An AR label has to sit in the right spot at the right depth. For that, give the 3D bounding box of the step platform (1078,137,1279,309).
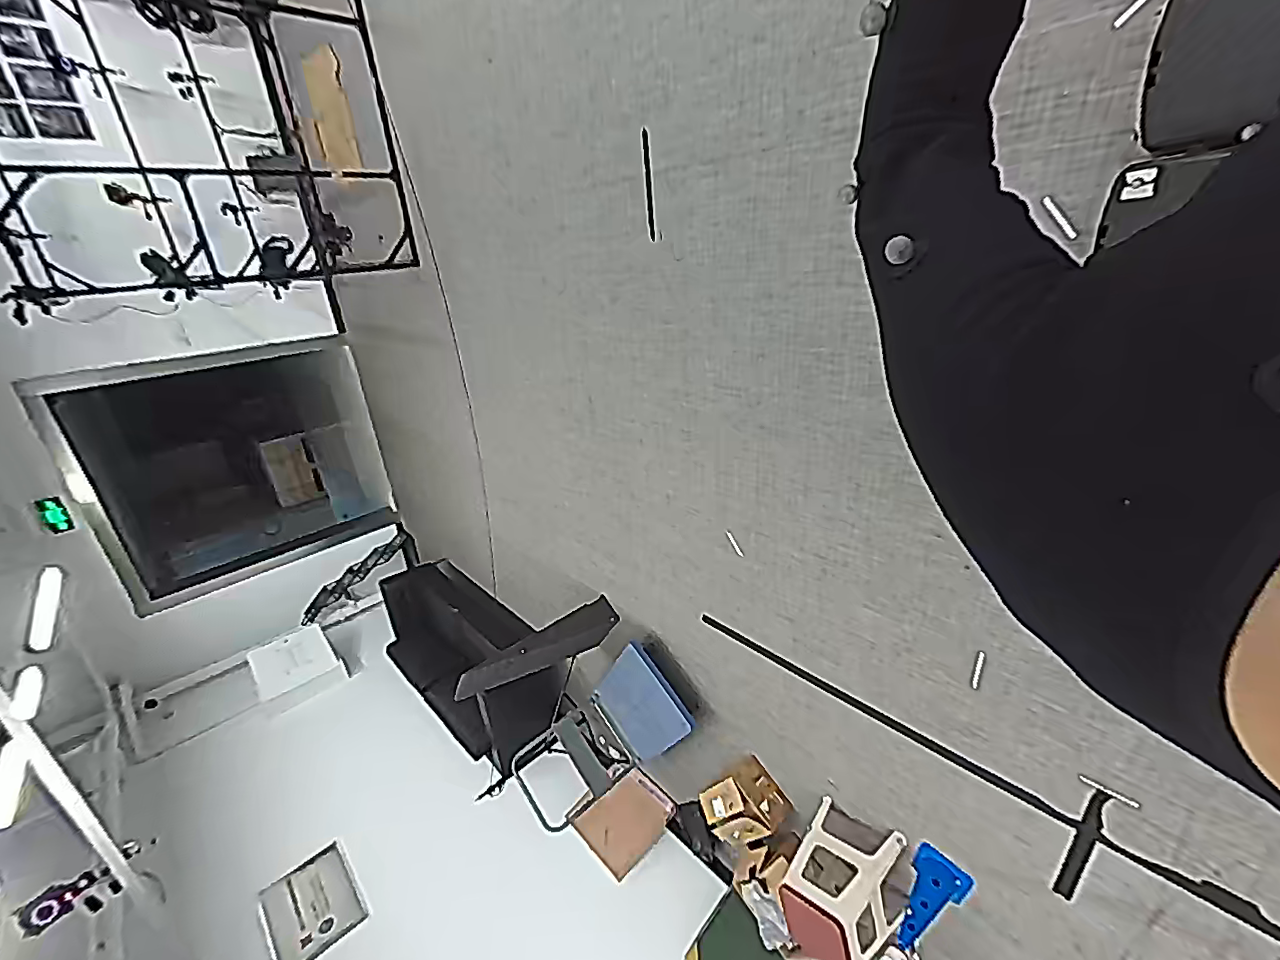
[{"bbox_3d":[1.207,-0.454,0.942,0.684,0.204,0.286,18,122,46],"label":"step platform"}]
